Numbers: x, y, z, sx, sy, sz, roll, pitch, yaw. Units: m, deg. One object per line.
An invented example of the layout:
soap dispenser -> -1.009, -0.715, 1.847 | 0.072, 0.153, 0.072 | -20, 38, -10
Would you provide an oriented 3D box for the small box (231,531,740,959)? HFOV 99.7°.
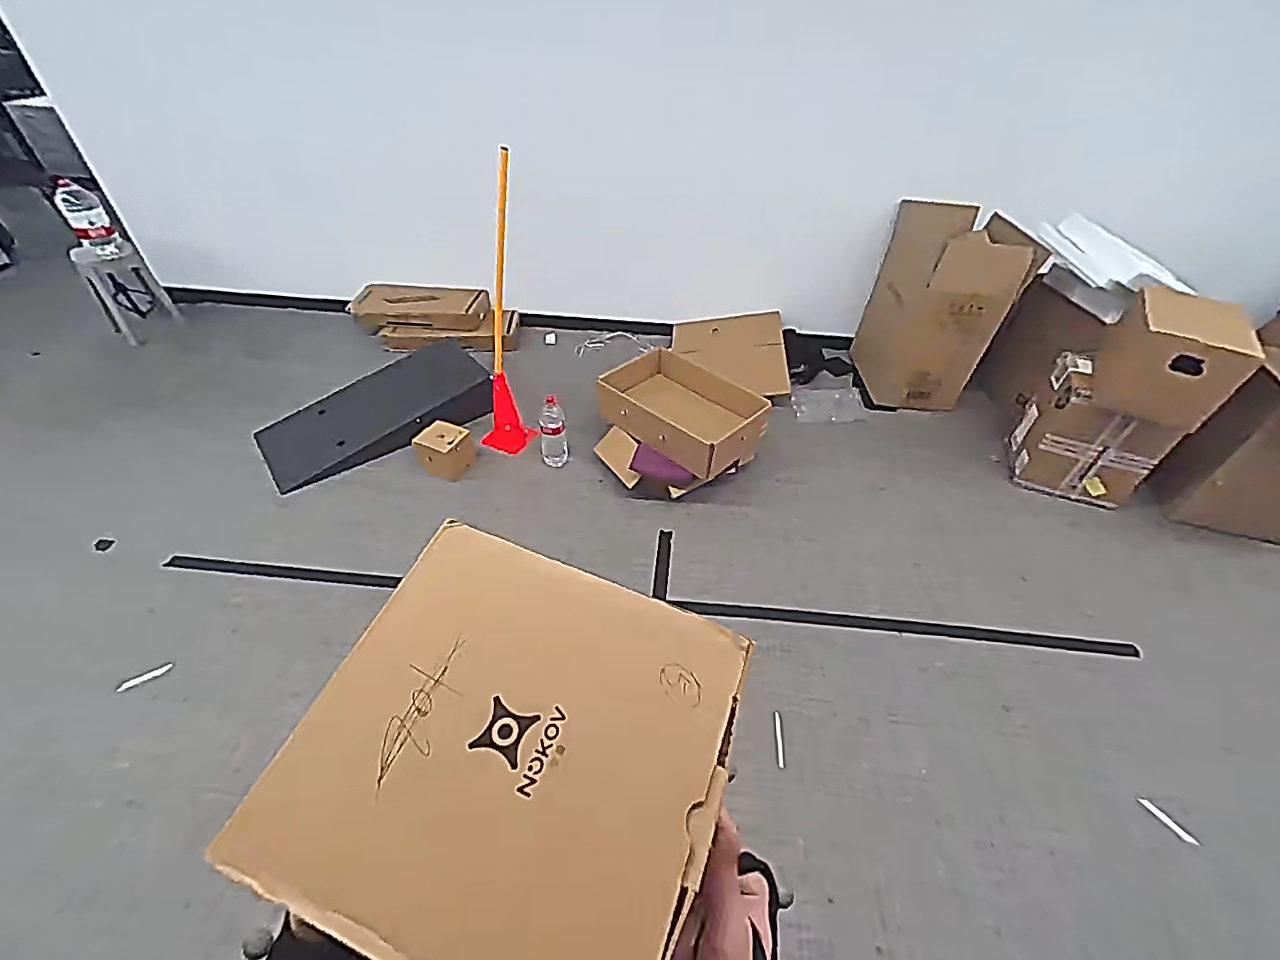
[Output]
small box -> -0.060, 0.162, 0.311 | 0.179, 0.176, 0.168 | 18, 54, 11
